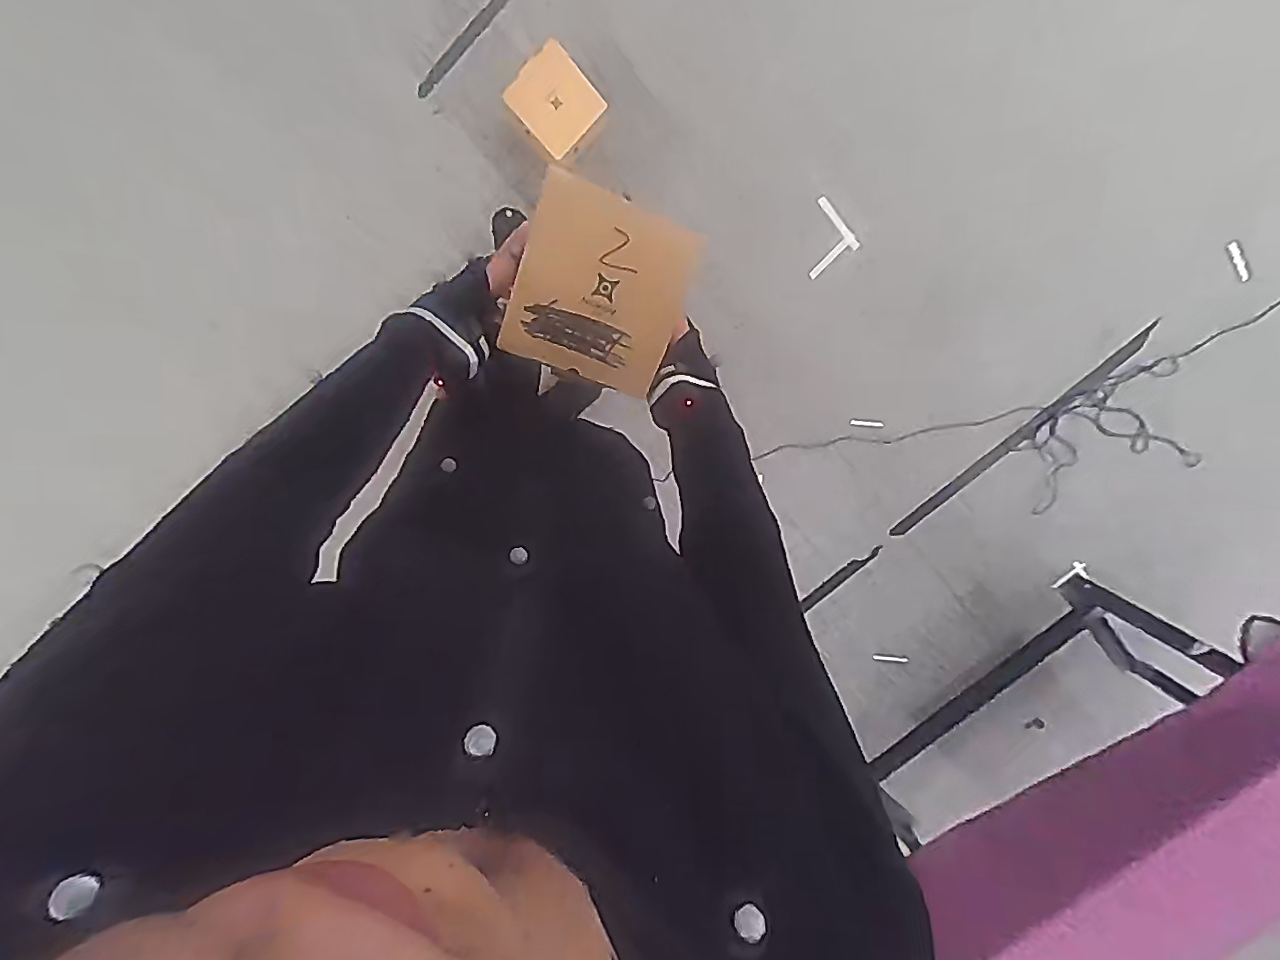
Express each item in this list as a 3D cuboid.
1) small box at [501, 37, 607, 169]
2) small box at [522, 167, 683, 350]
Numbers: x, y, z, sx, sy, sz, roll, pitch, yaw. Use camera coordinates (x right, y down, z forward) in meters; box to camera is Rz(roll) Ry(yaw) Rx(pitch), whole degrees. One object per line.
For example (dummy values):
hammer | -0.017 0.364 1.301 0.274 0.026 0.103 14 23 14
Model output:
small box | -0.194 -0.859 1.261 0.168 0.176 0.179 -44 107 9
small box | -0.060 -0.304 0.740 0.168 0.176 0.179 13 116 -15
